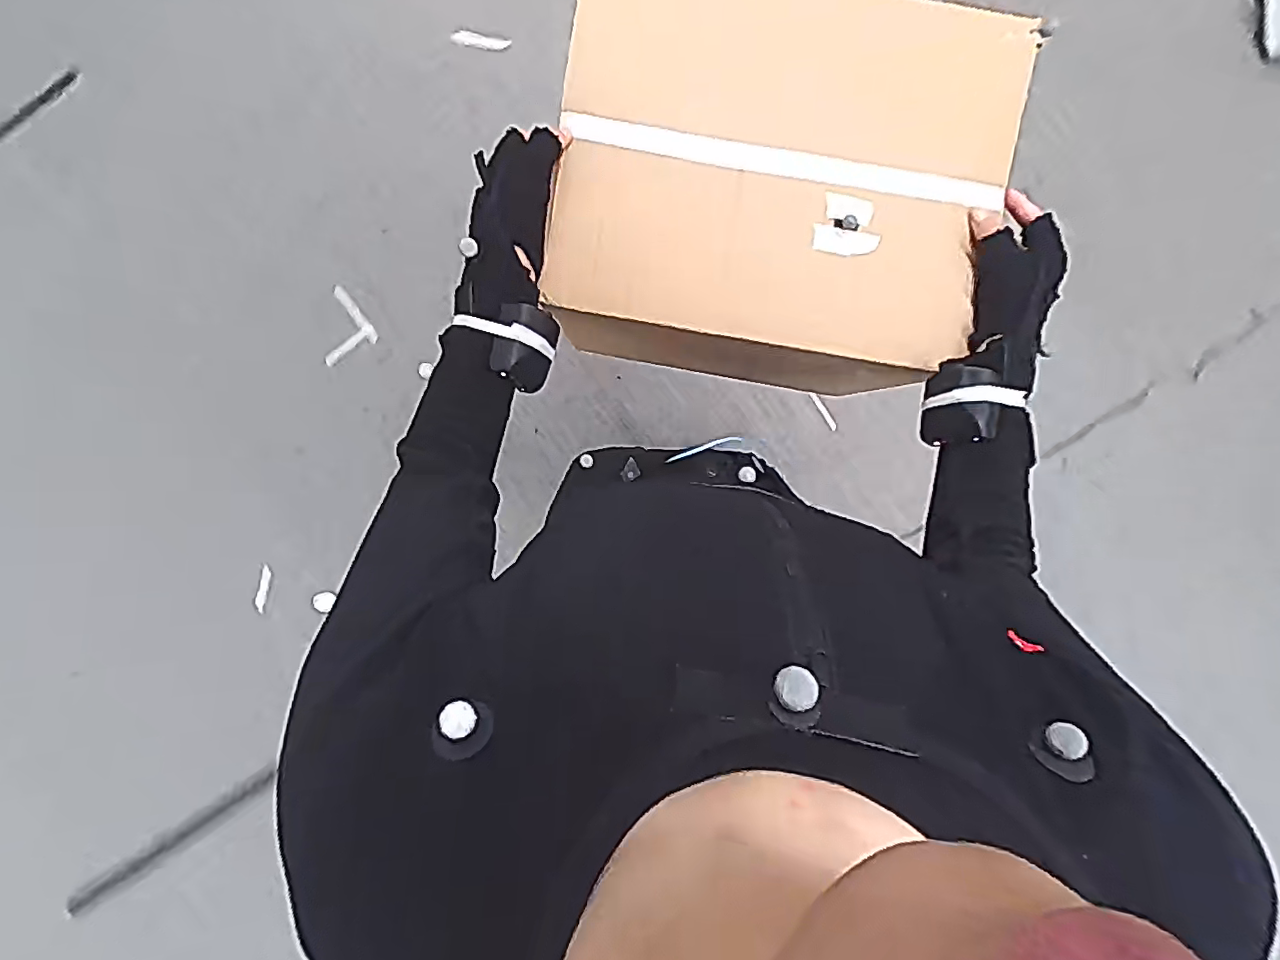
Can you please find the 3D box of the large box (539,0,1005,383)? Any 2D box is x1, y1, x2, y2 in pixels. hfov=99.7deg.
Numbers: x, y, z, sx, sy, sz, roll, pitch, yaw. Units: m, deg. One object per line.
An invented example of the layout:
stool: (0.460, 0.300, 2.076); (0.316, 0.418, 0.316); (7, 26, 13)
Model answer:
large box: (0.115, -0.306, 0.649); (0.408, 0.320, 0.320); (8, 97, -2)
